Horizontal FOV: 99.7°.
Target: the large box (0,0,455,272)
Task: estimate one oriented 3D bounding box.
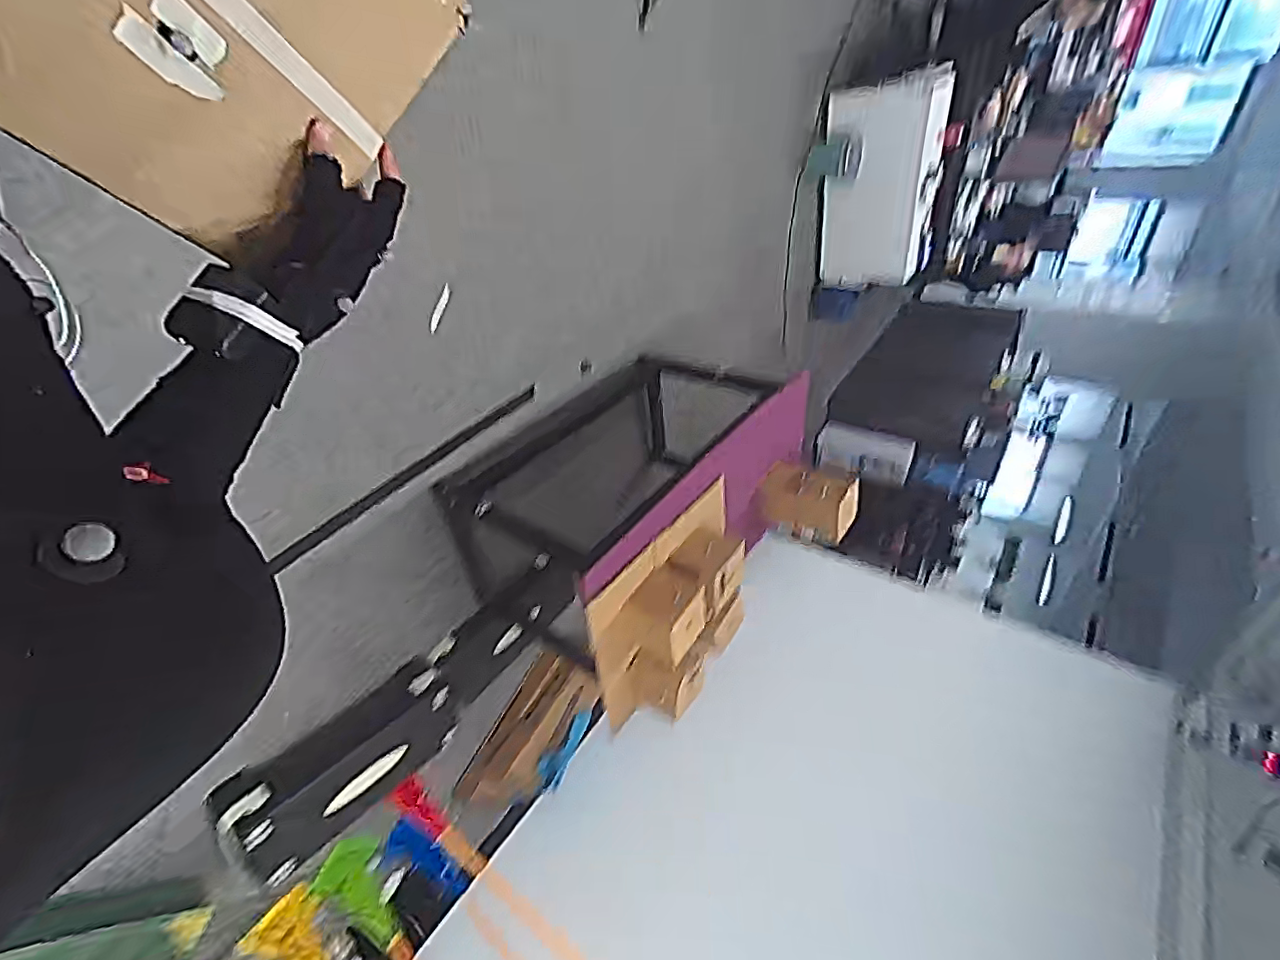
[{"bbox_3d":[-0.441,-0.436,0.396,0.320,0.320,0.408,-56,151,0],"label":"large box"}]
